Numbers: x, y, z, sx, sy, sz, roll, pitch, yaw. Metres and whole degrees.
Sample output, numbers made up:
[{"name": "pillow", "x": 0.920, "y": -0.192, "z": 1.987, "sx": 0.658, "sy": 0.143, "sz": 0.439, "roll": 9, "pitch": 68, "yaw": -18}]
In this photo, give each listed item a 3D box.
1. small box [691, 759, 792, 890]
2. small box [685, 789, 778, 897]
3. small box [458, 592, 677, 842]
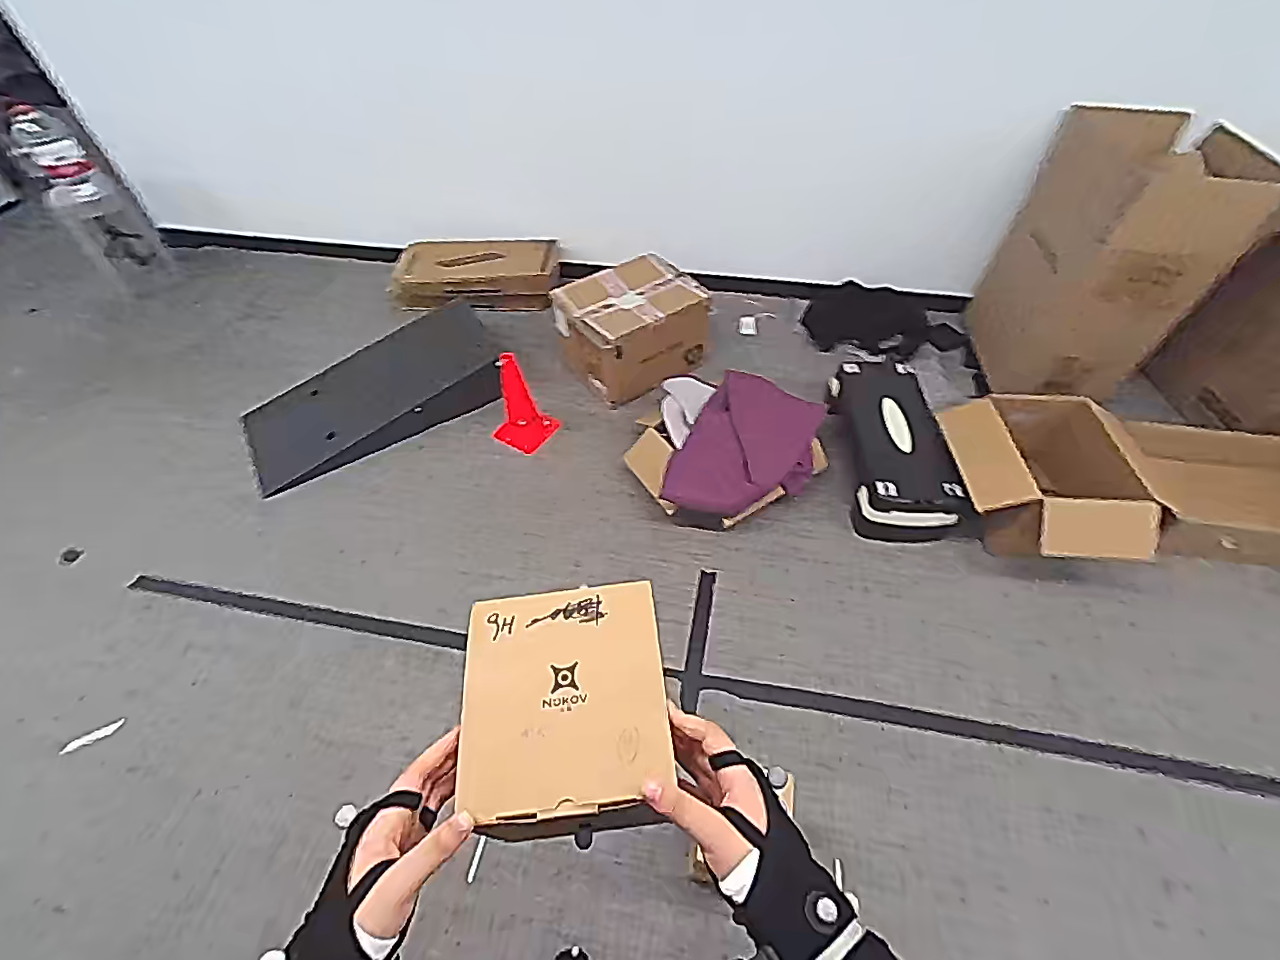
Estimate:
[{"name": "small box", "x": 0.195, "y": 0.675, "z": 1.058, "sx": 0.168, "sy": 0.176, "sz": 0.179, "roll": 9, "pitch": 53, "yaw": 9}, {"name": "small box", "x": 0.199, "y": 0.788, "z": 1.176, "sx": 0.179, "sy": 0.176, "sz": 0.168, "roll": 8, "pitch": 51, "yaw": 7}, {"name": "small box", "x": -0.057, "y": 0.227, "z": 0.507, "sx": 0.168, "sy": 0.176, "sz": 0.179, "roll": -7, "pitch": 54, "yaw": -2}]
